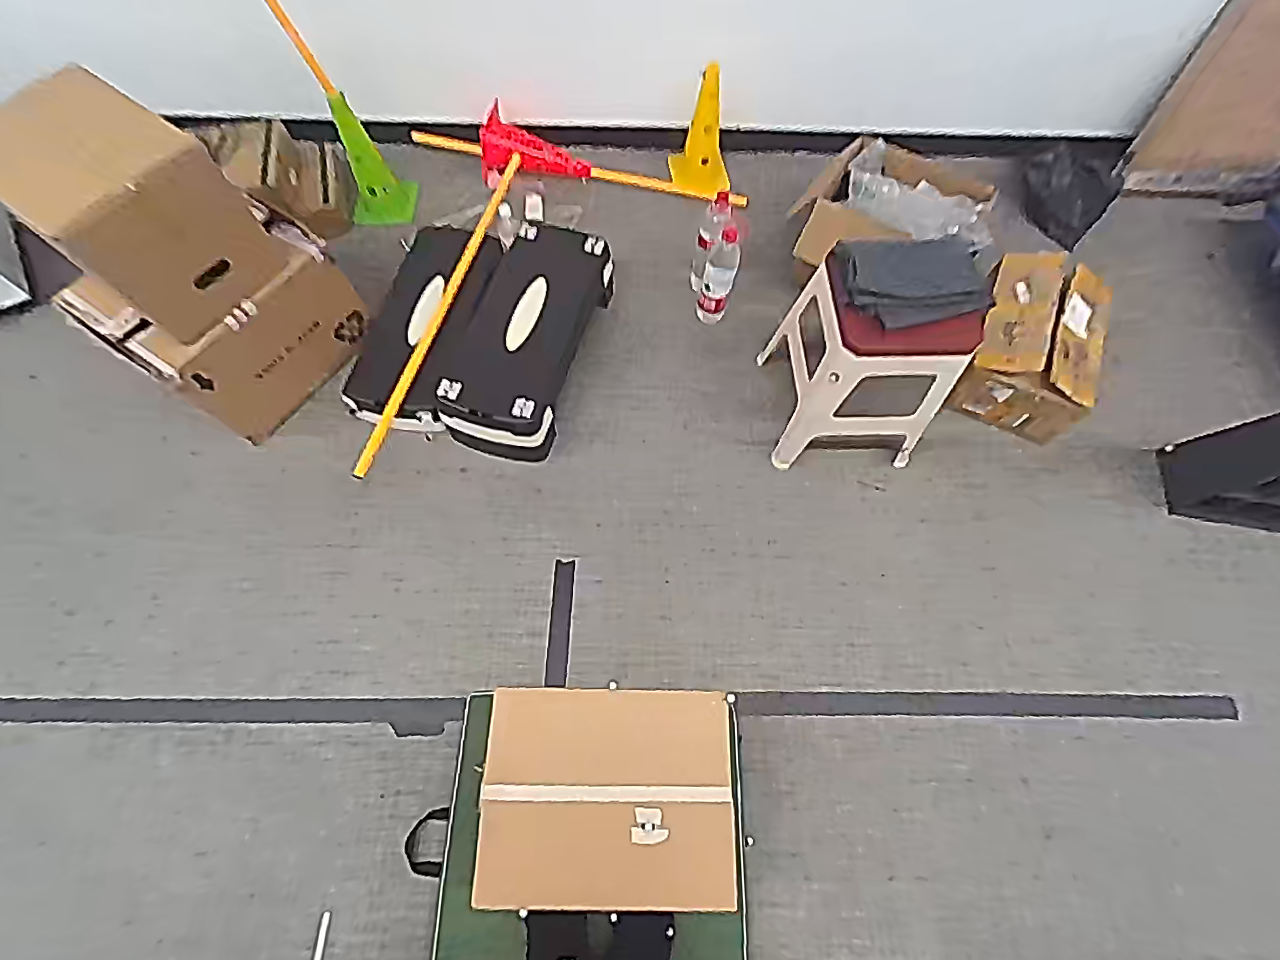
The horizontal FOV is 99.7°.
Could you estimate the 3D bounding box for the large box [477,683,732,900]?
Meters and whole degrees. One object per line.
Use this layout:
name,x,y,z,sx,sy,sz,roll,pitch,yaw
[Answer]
large box,-0.062,0.565,1.030,0.408,0.320,0.320,2,67,-2
